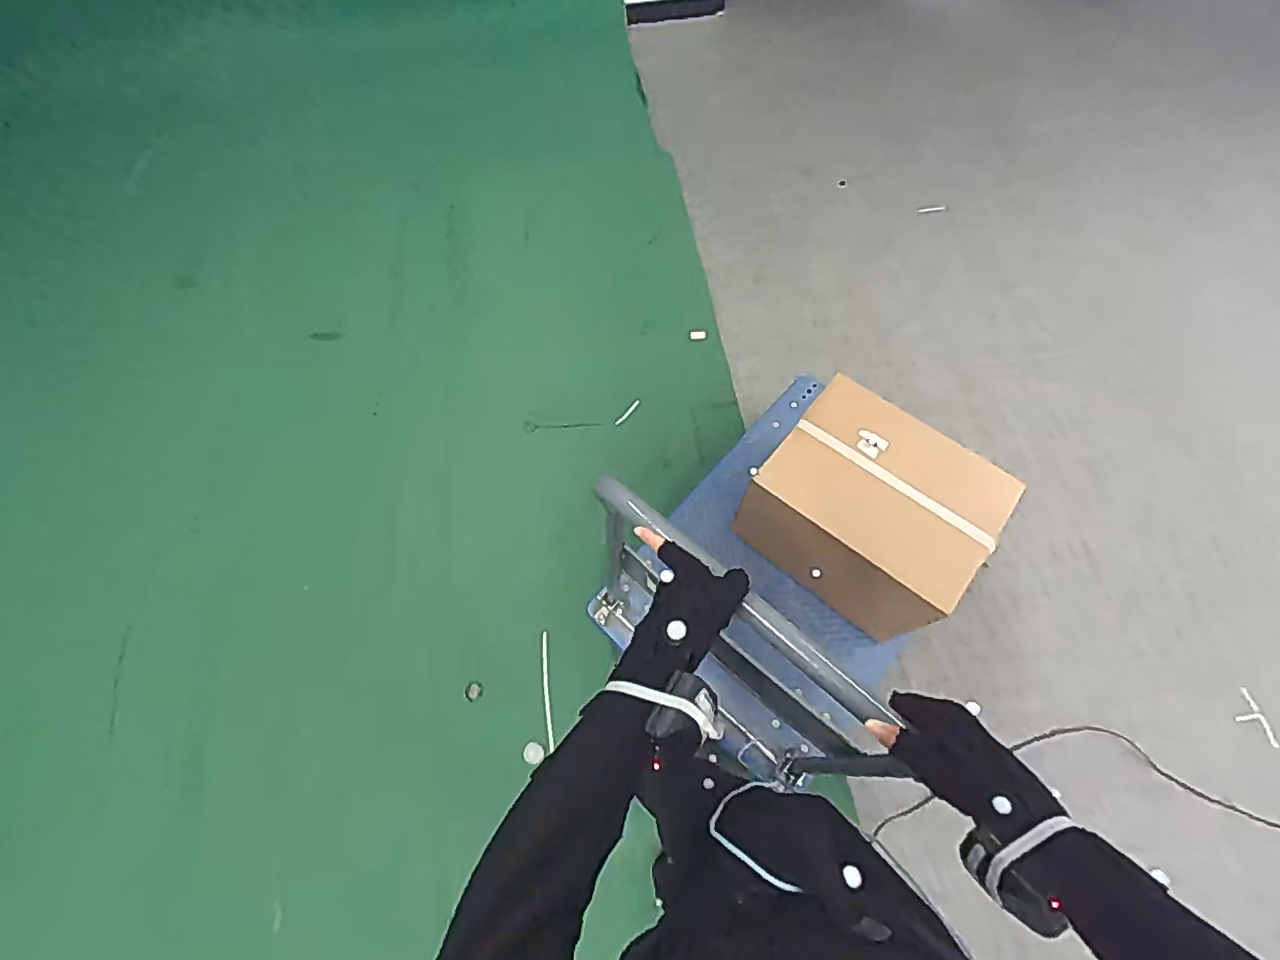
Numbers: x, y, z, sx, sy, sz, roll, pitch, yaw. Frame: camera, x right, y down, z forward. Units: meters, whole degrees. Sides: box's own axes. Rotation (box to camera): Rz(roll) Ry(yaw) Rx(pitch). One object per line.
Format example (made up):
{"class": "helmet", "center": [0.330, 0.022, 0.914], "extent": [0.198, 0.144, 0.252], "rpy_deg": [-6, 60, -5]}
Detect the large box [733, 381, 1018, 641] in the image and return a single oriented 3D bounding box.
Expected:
{"class": "large box", "center": [0.458, 0.075, 1.141], "extent": [0.408, 0.320, 0.320], "rpy_deg": [37, 71, 18]}
